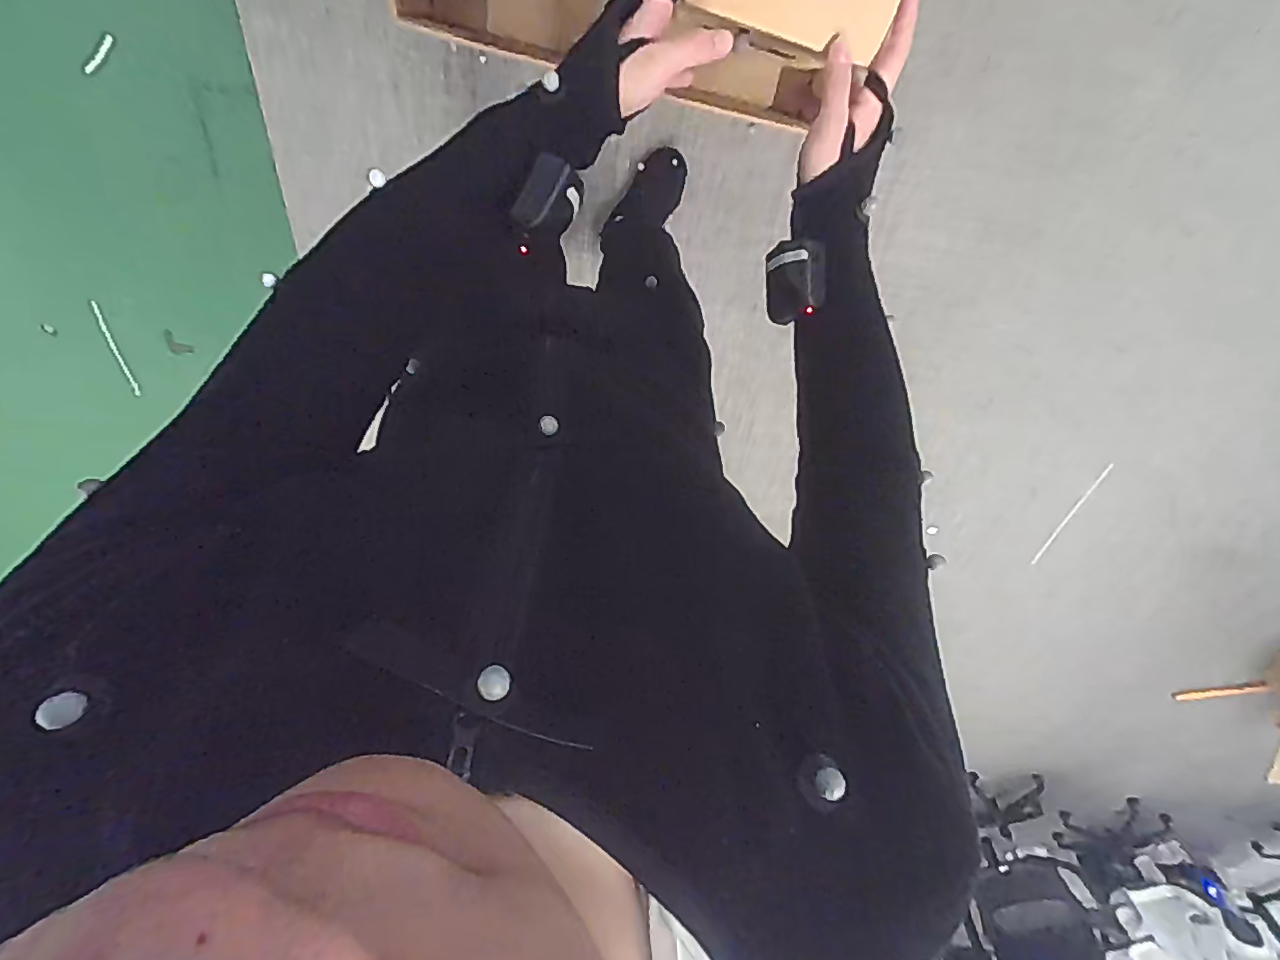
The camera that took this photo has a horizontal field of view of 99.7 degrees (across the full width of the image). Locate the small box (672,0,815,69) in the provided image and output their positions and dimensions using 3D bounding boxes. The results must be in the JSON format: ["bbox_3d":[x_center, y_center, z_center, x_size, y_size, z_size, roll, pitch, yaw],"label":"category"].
[{"bbox_3d":[0.138,-0.570,0.578,0.168,0.176,0.179,13,127,-7],"label":"small box"}]

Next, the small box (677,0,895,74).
[{"bbox_3d":[0.134,-0.469,0.450,0.168,0.176,0.179,13,127,-7],"label":"small box"}]
